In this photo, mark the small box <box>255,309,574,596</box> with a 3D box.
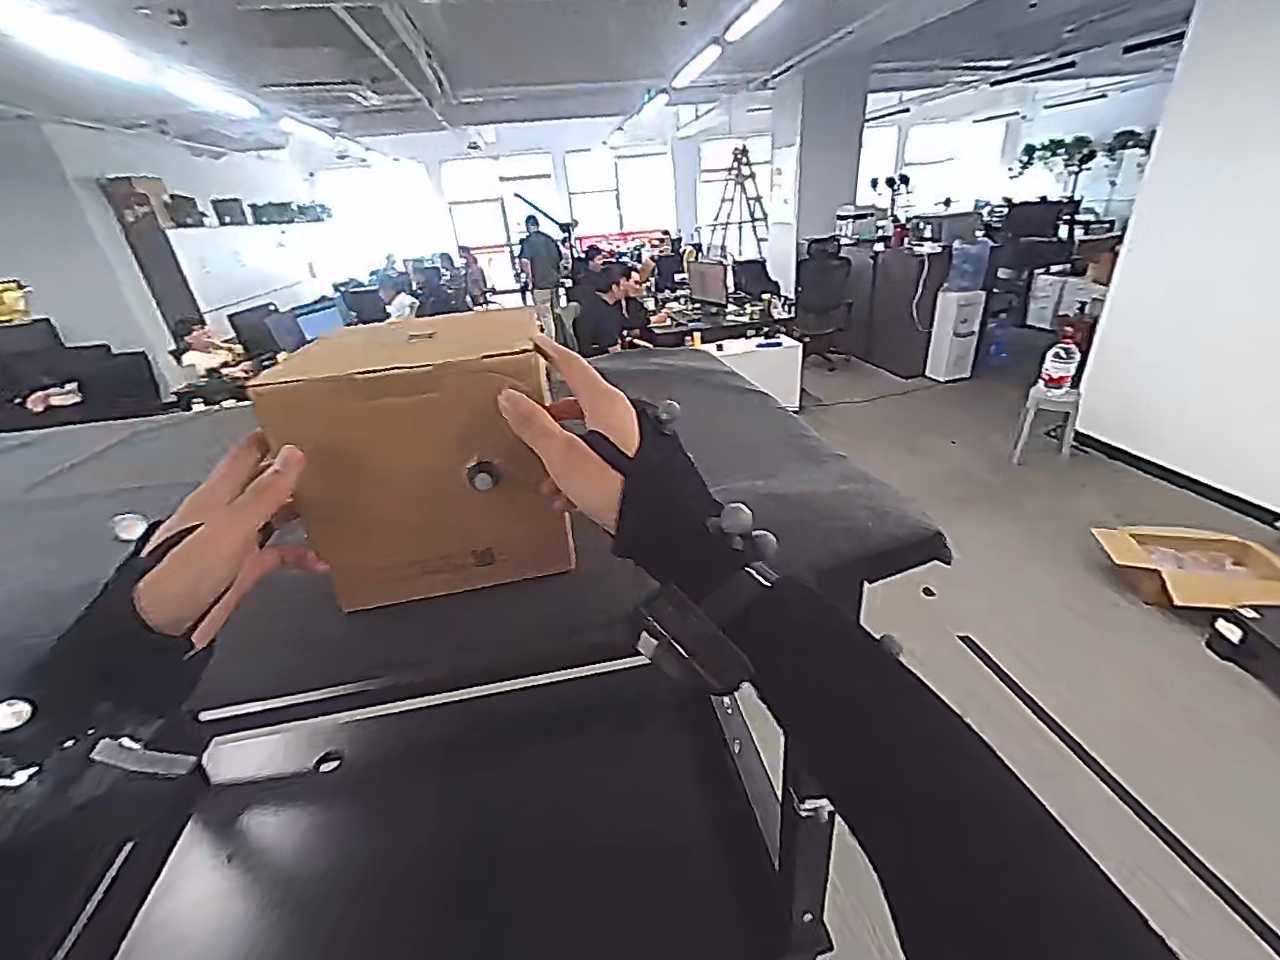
[{"bbox_3d":[-0.147,-0.026,0.423,0.168,0.176,0.179,-8,27,-8],"label":"small box"}]
